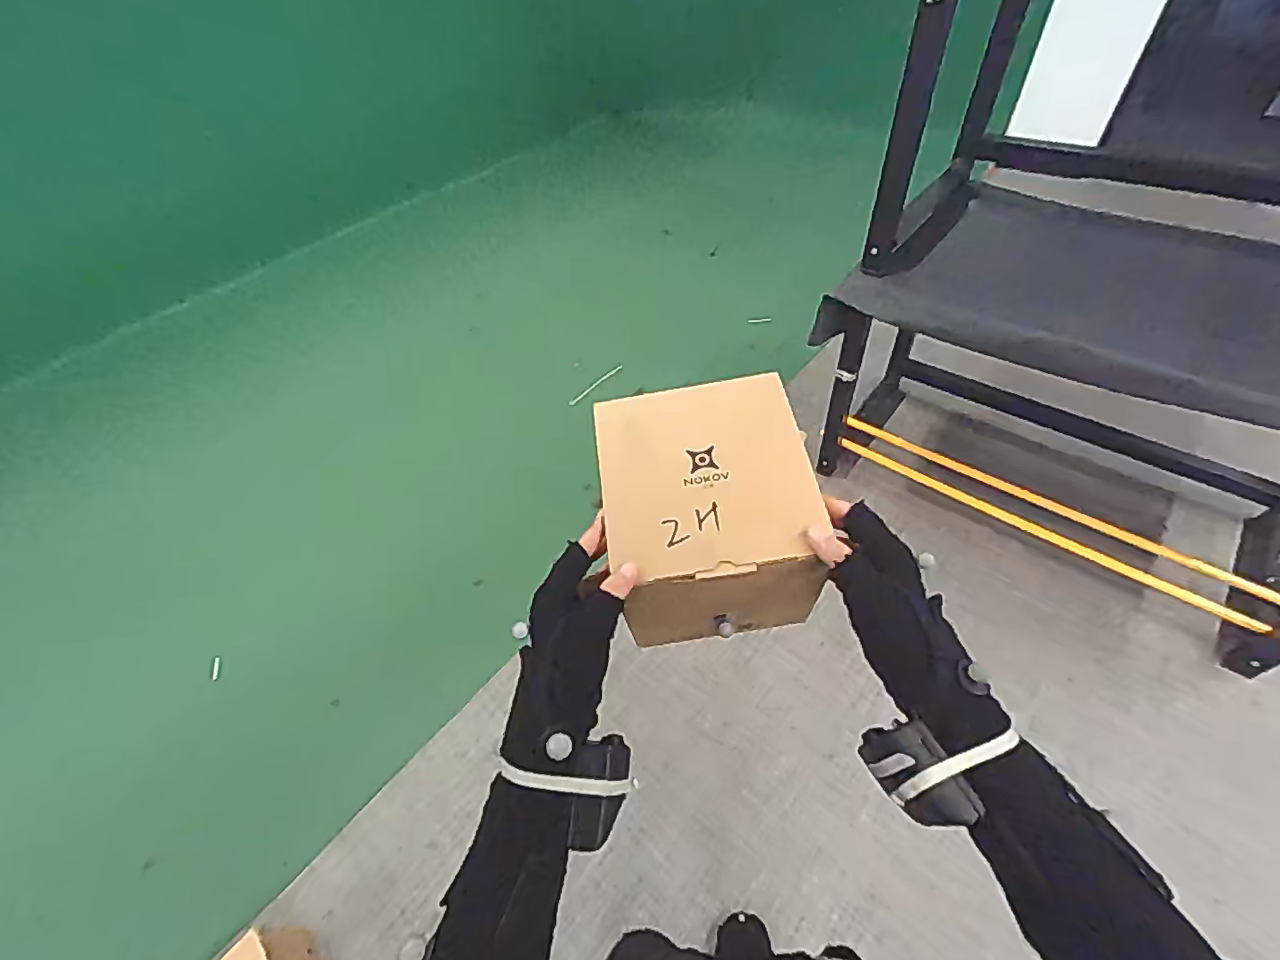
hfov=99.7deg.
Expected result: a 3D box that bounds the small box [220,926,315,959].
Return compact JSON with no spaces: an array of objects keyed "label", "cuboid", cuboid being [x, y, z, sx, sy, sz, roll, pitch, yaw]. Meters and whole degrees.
[{"label":"small box","cuboid":[-0.751,1.022,1.057,0.168,0.176,0.179,33,61,30]}]
